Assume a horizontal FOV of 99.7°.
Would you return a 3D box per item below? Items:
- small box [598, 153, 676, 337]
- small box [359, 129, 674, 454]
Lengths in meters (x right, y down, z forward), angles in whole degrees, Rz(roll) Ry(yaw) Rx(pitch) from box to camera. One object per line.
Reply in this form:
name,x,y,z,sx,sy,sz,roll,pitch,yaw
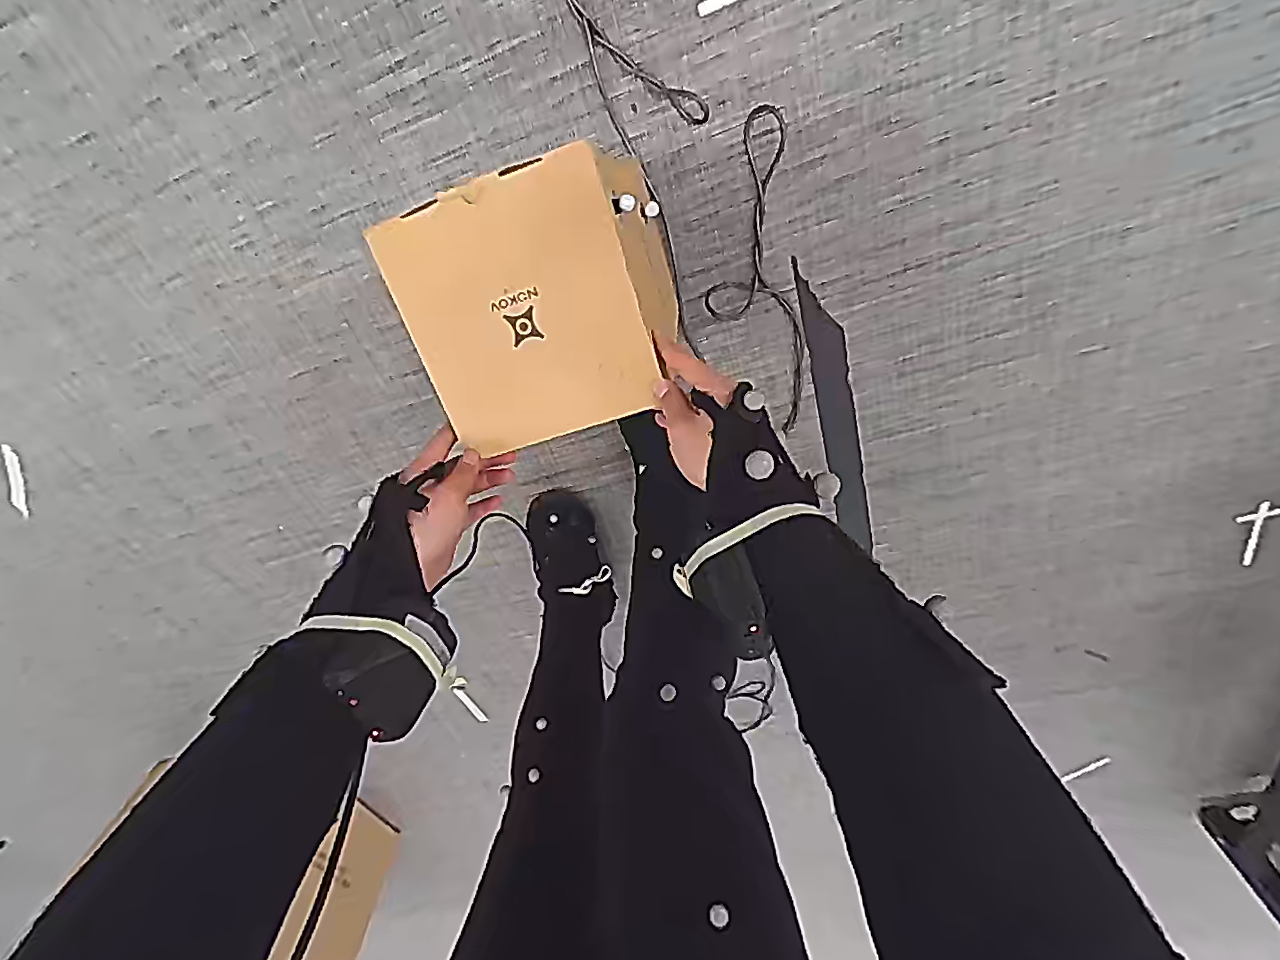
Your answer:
small box,-0.062,-0.238,0.594,0.168,0.176,0.179,-13,122,13
small box,-0.075,-0.146,0.441,0.168,0.176,0.179,-16,110,13
